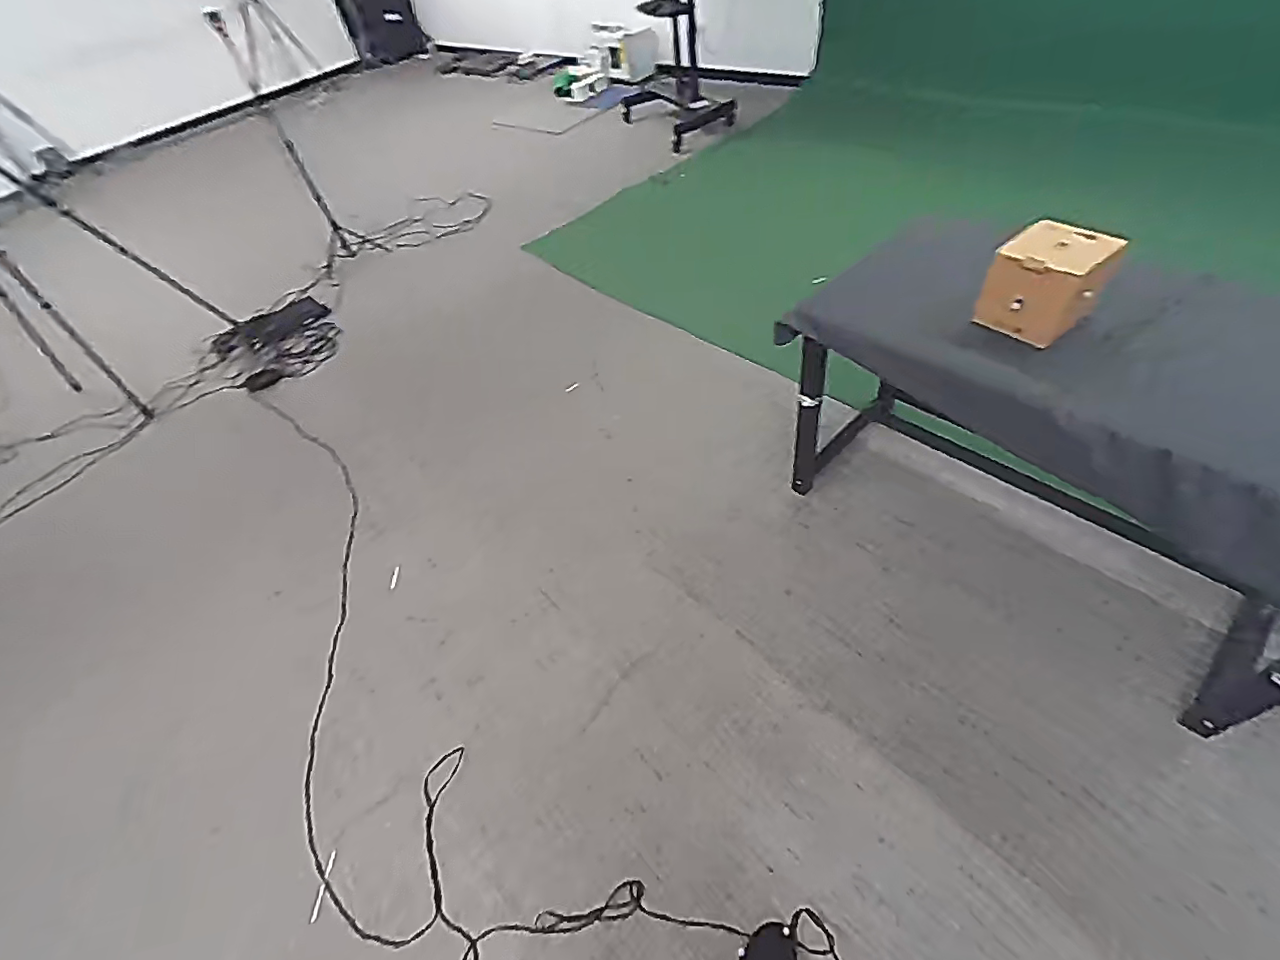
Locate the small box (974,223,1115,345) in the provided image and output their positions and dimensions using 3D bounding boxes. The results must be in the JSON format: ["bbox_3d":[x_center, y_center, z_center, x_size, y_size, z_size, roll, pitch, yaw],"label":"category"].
[{"bbox_3d":[0.854,-0.419,1.162,0.179,0.176,0.168,-36,51,-19],"label":"small box"}]
